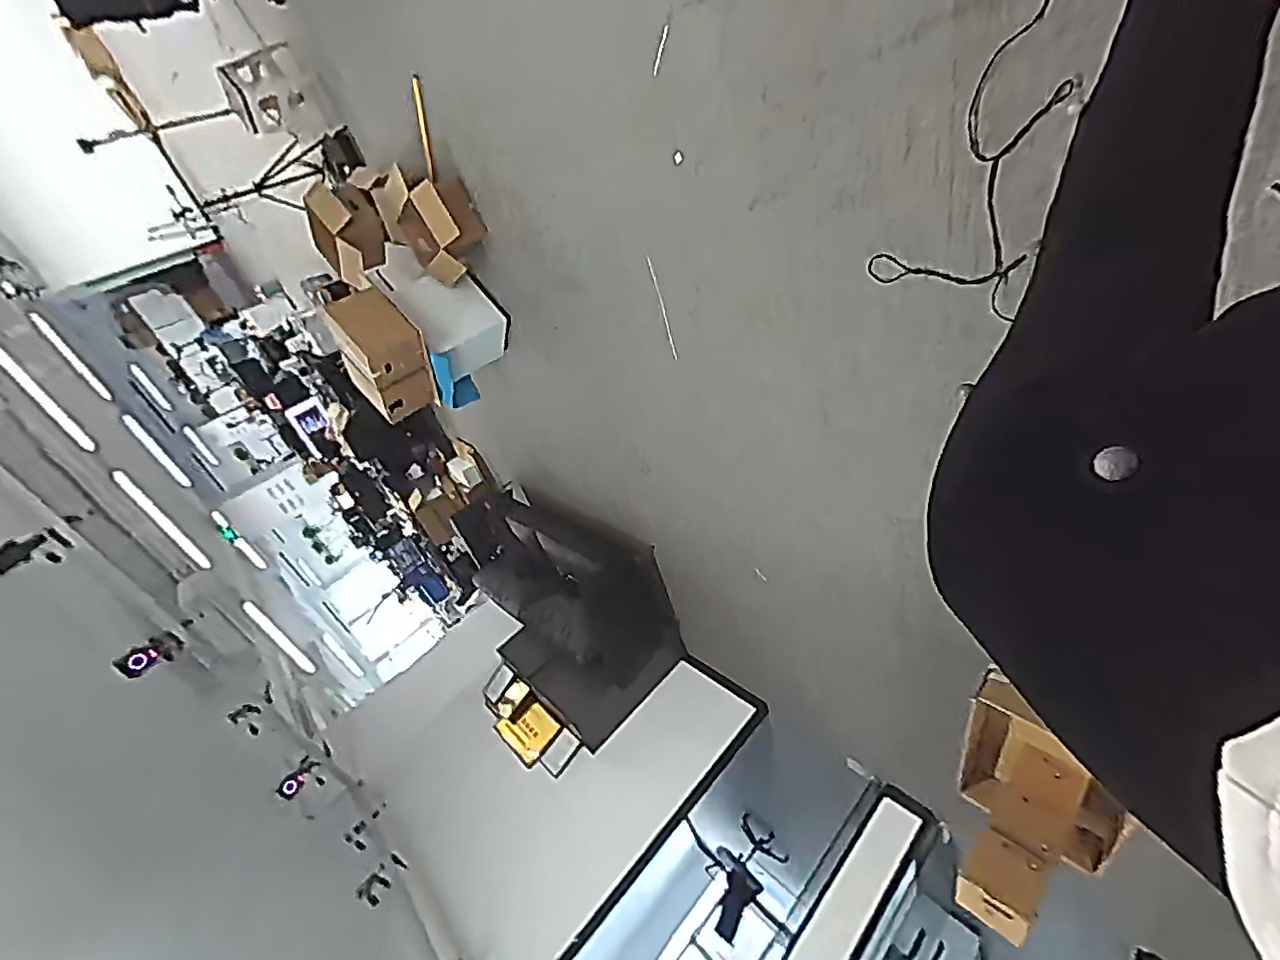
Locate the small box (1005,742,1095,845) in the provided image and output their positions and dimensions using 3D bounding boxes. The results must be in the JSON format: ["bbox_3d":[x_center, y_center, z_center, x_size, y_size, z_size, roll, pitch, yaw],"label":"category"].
[{"bbox_3d":[1.248,0.949,1.646,0.168,0.176,0.179,23,138,45],"label":"small box"}]

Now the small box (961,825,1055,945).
[{"bbox_3d":[1.006,1.100,1.480,0.168,0.176,0.179,21,138,46],"label":"small box"}]
